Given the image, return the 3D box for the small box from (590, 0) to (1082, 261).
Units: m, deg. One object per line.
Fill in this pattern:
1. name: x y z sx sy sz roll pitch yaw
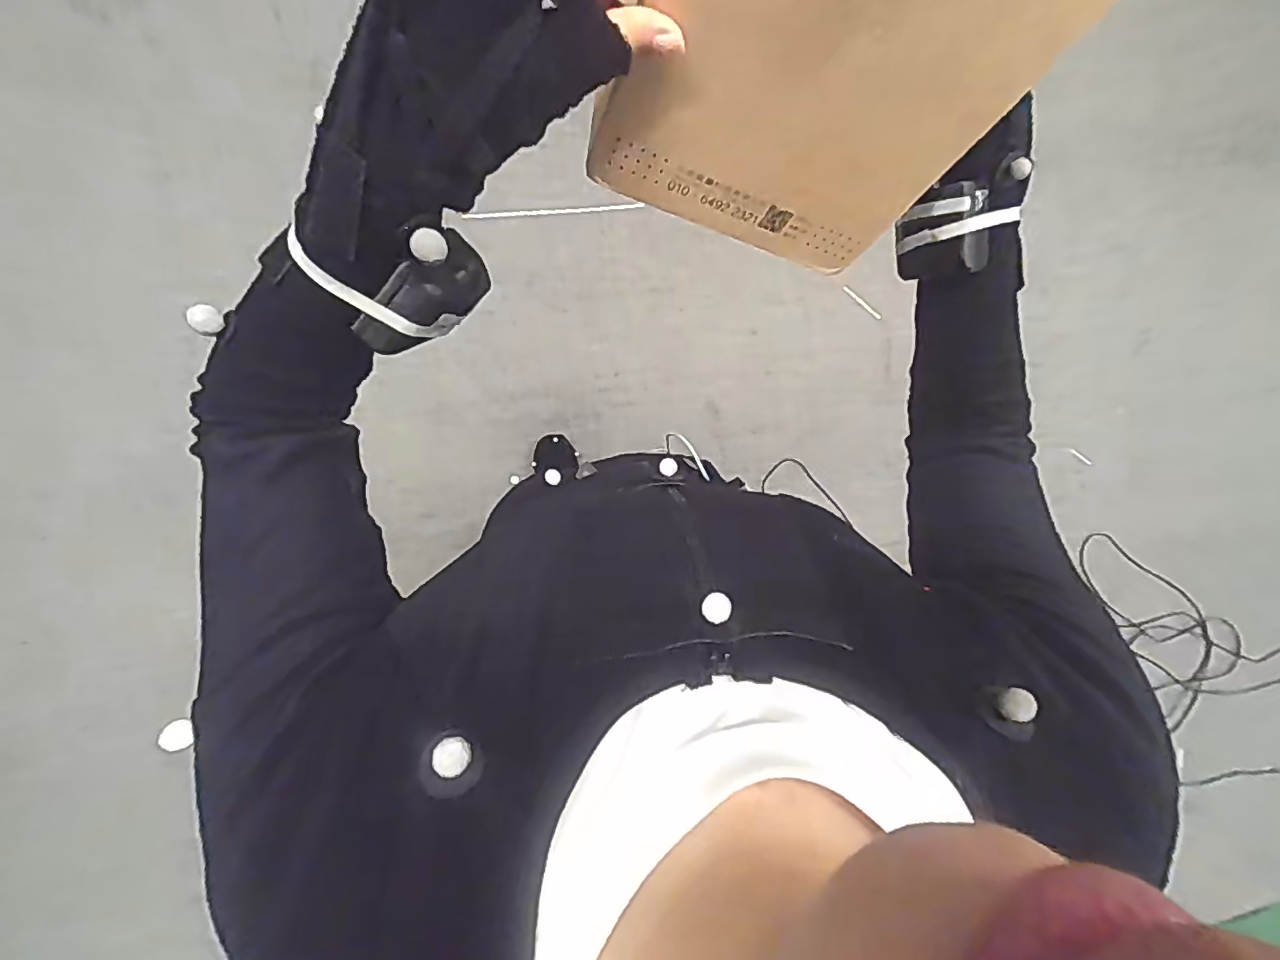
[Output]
1. small box: 0.079 -0.257 0.281 0.168 0.176 0.179 12 64 -19
